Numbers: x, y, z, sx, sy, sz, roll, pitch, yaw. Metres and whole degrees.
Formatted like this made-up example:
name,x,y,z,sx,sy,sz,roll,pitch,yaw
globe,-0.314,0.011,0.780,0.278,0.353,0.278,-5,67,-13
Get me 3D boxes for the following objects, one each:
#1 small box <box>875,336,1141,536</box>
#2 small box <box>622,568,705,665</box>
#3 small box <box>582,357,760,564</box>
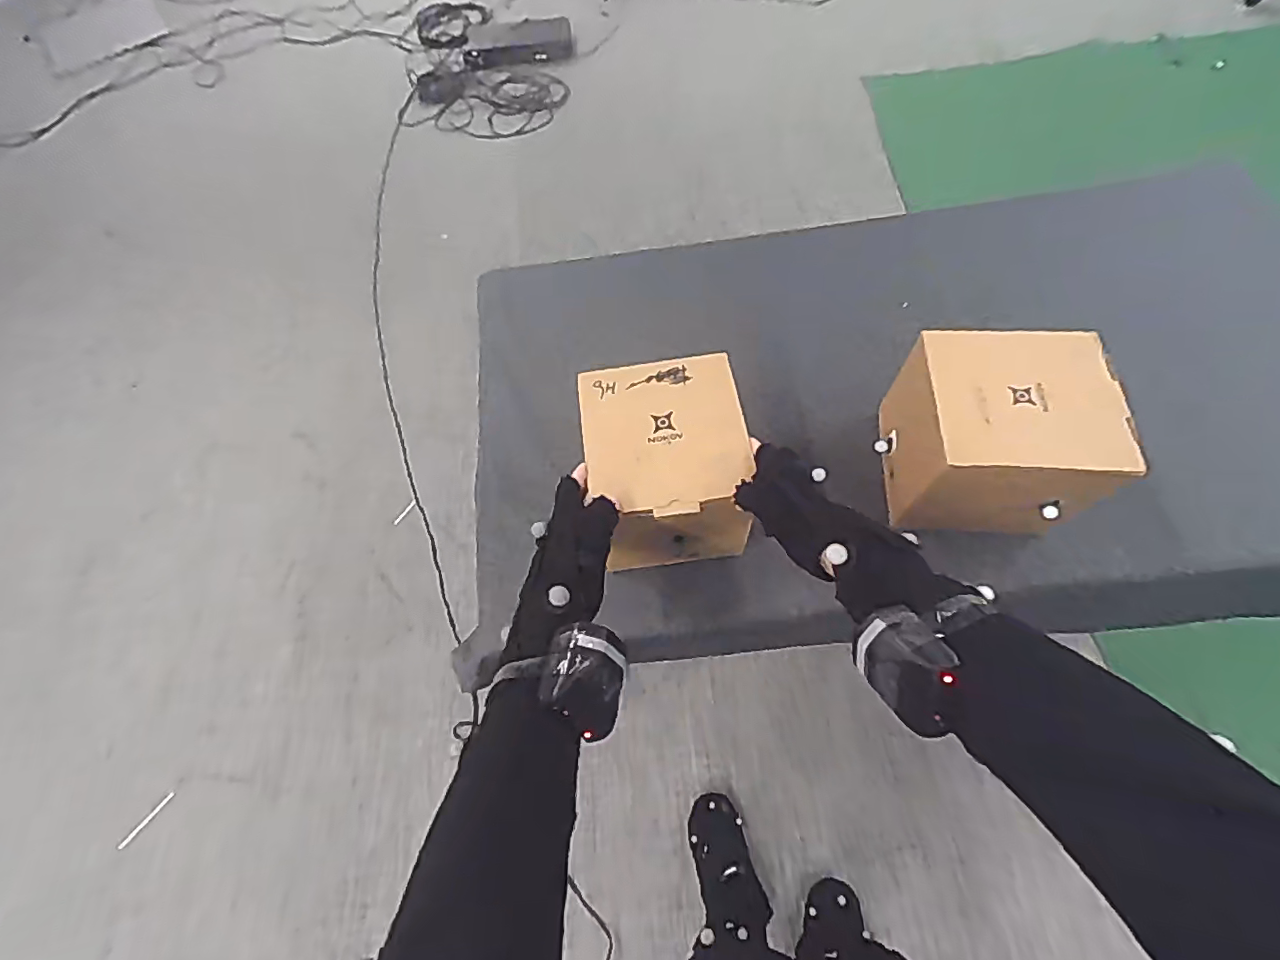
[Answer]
name,x,y,z,sx,sy,sz,roll,pitch,yaw
small box,0.389,-0.042,0.612,0.179,0.176,0.168,1,63,6
small box,0.054,0.325,1.272,0.168,0.176,0.179,-10,65,0
small box,0.032,-0.011,0.622,0.168,0.176,0.179,-8,63,0
